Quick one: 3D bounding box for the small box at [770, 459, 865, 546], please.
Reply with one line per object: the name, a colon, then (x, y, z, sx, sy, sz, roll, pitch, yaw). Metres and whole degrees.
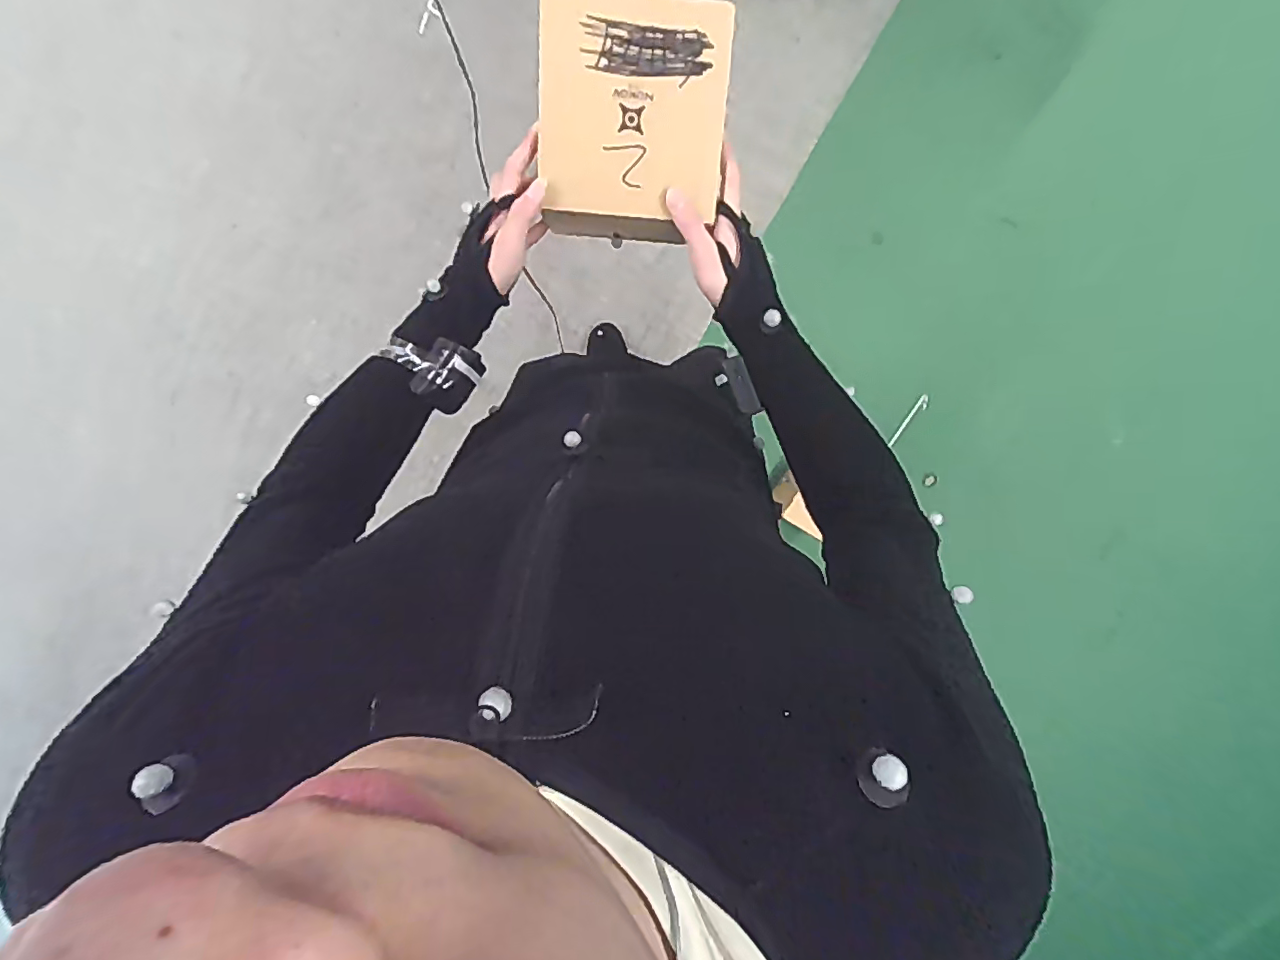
small box: (0.509, 0.058, 1.579, 0.179, 0.176, 0.168, 31, 103, -8)
